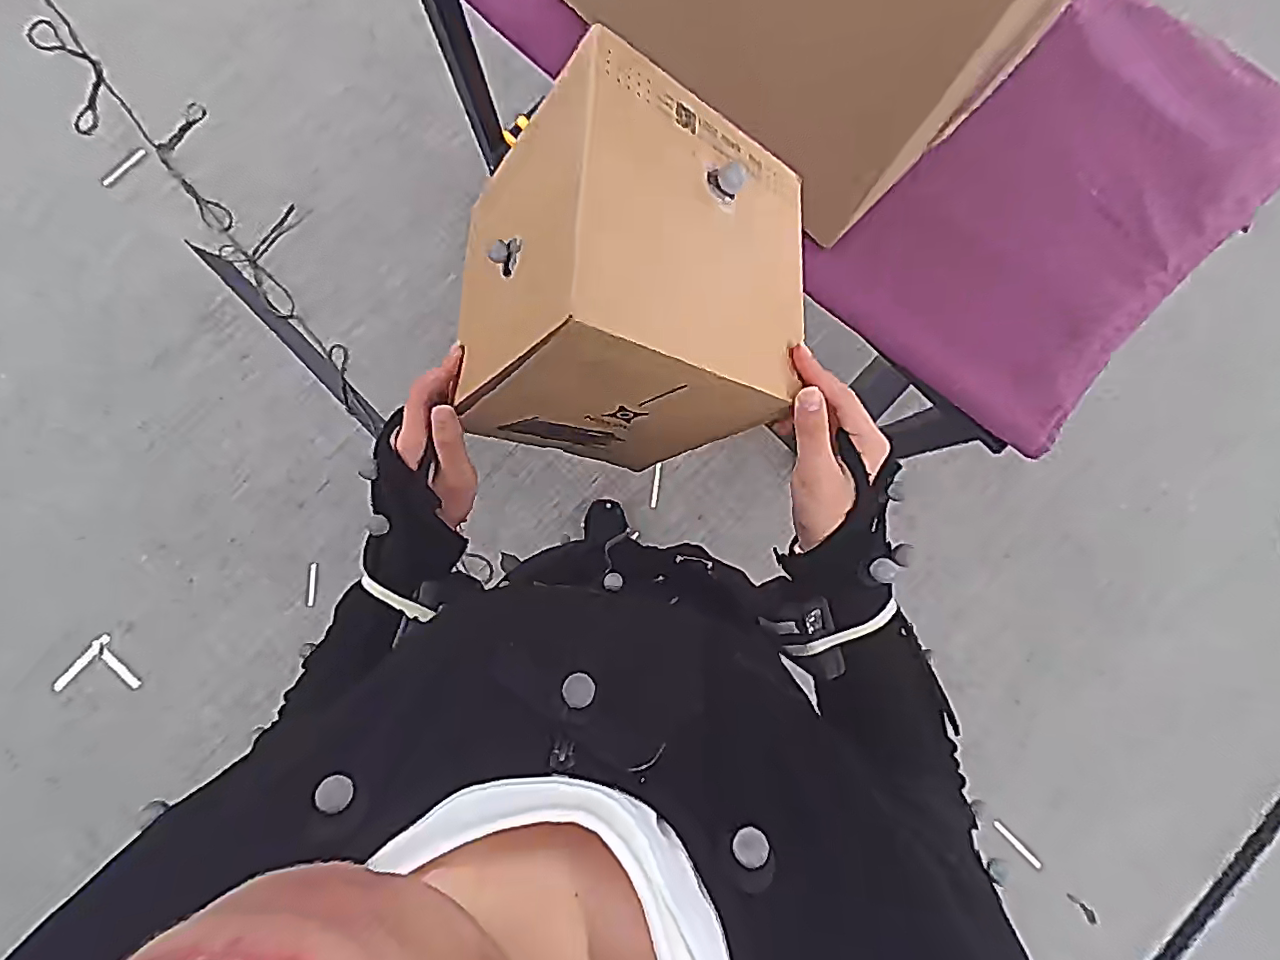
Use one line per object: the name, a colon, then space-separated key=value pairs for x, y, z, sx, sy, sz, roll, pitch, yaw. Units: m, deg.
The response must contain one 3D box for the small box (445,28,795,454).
small box: x=-0.015 y=-0.129 z=0.365 sx=0.168 sy=0.179 sz=0.176 roll=11 pitch=74 yaw=-35
